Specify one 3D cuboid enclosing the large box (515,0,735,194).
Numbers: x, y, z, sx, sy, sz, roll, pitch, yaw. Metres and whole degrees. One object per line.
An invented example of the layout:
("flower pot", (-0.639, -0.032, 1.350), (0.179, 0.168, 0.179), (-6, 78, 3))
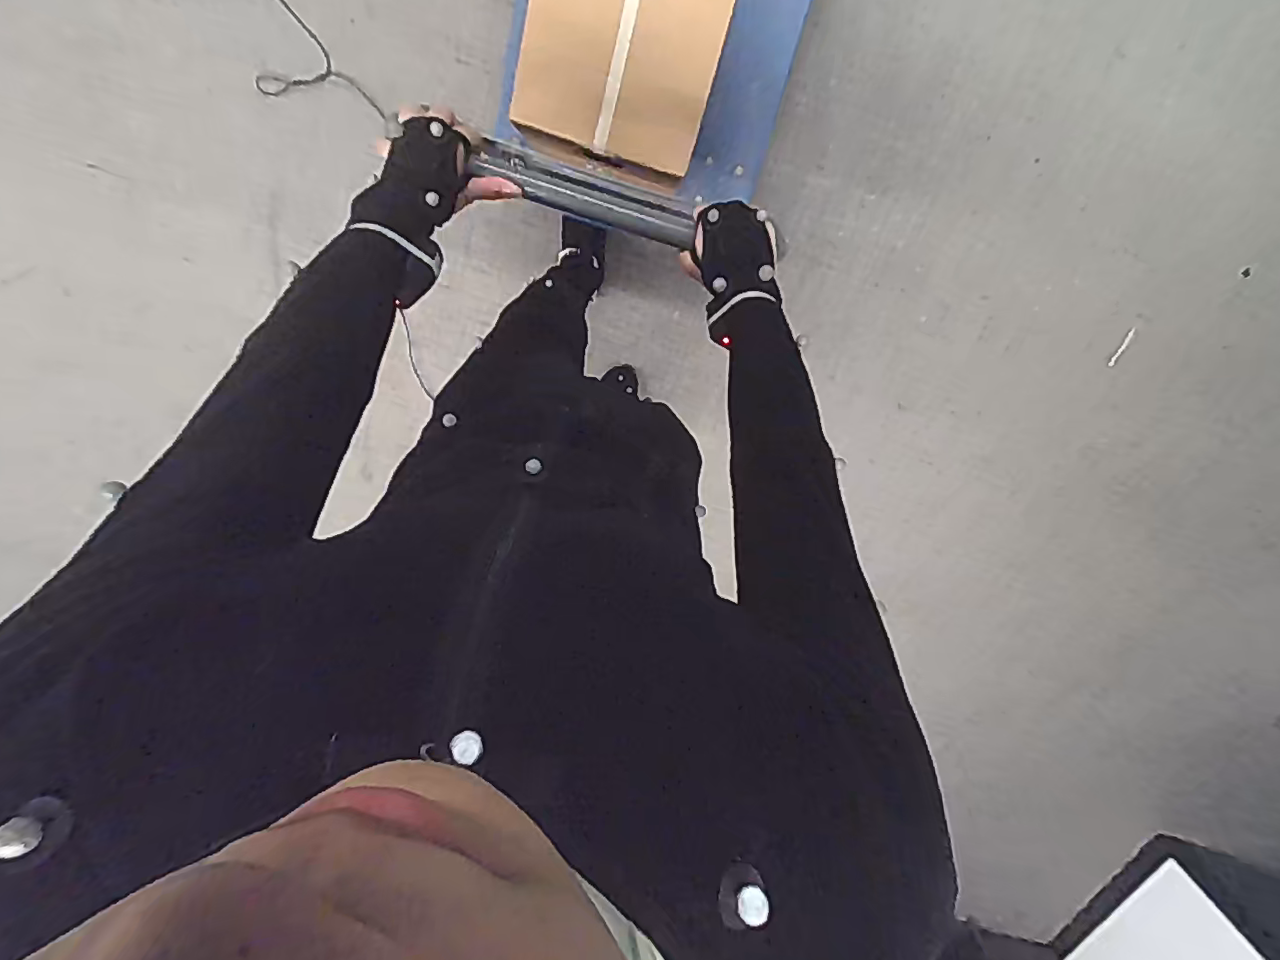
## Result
("large box", (-0.013, -0.802, 0.995), (0.320, 0.320, 0.408), (15, 110, -7))
